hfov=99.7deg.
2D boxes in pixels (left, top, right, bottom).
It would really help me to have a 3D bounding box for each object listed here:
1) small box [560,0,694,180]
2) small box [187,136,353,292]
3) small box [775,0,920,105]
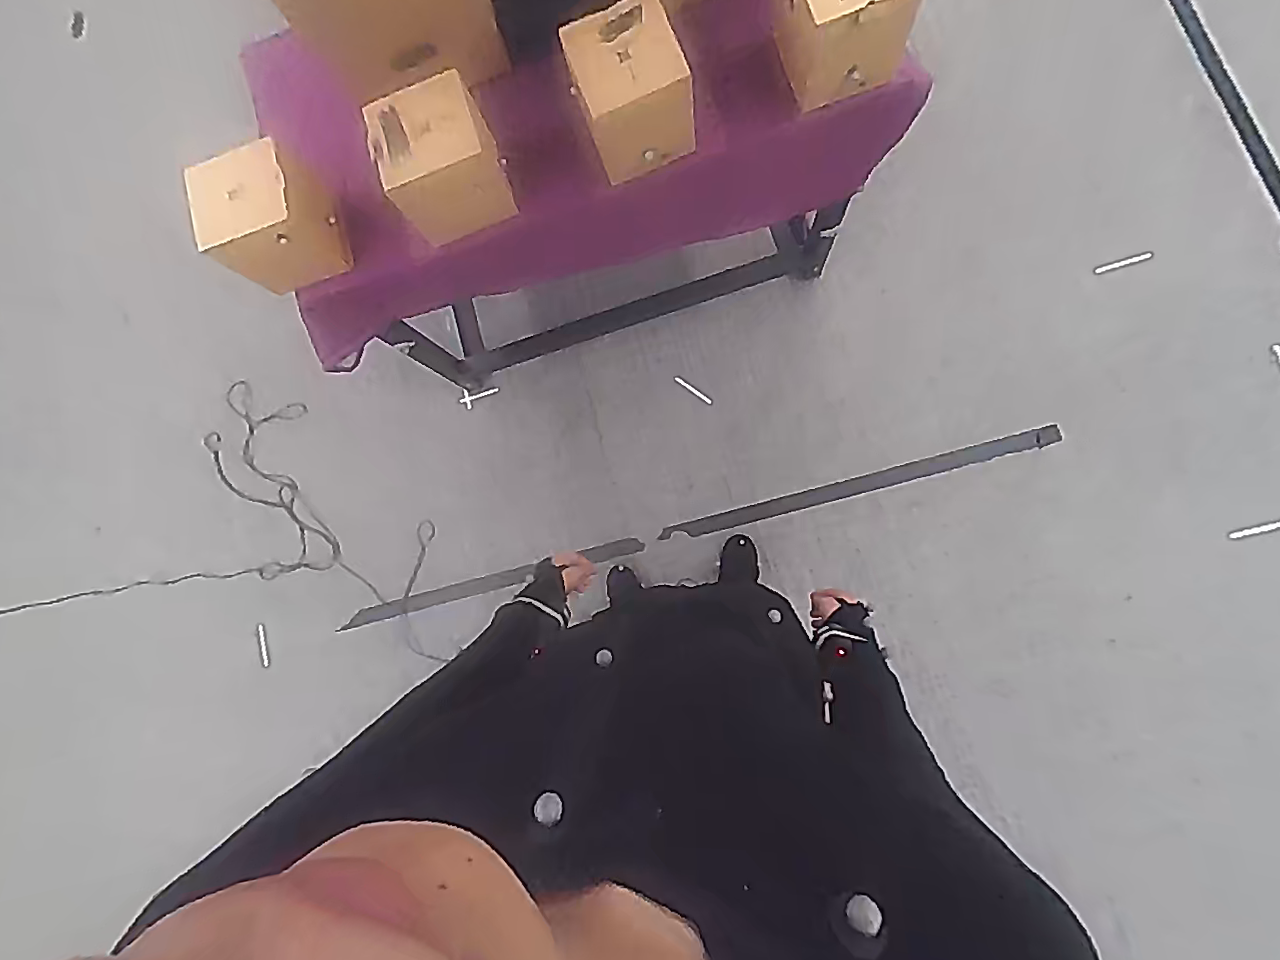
[{"bbox_3d":[-0.015,-0.660,0.917,0.168,0.176,0.179,-21,82,6],"label":"small box"},{"bbox_3d":[-0.668,-0.474,0.992,0.179,0.176,0.168,-18,81,5],"label":"small box"},{"bbox_3d":[0.326,-0.767,0.877,0.168,0.176,0.179,-16,81,7],"label":"small box"}]
